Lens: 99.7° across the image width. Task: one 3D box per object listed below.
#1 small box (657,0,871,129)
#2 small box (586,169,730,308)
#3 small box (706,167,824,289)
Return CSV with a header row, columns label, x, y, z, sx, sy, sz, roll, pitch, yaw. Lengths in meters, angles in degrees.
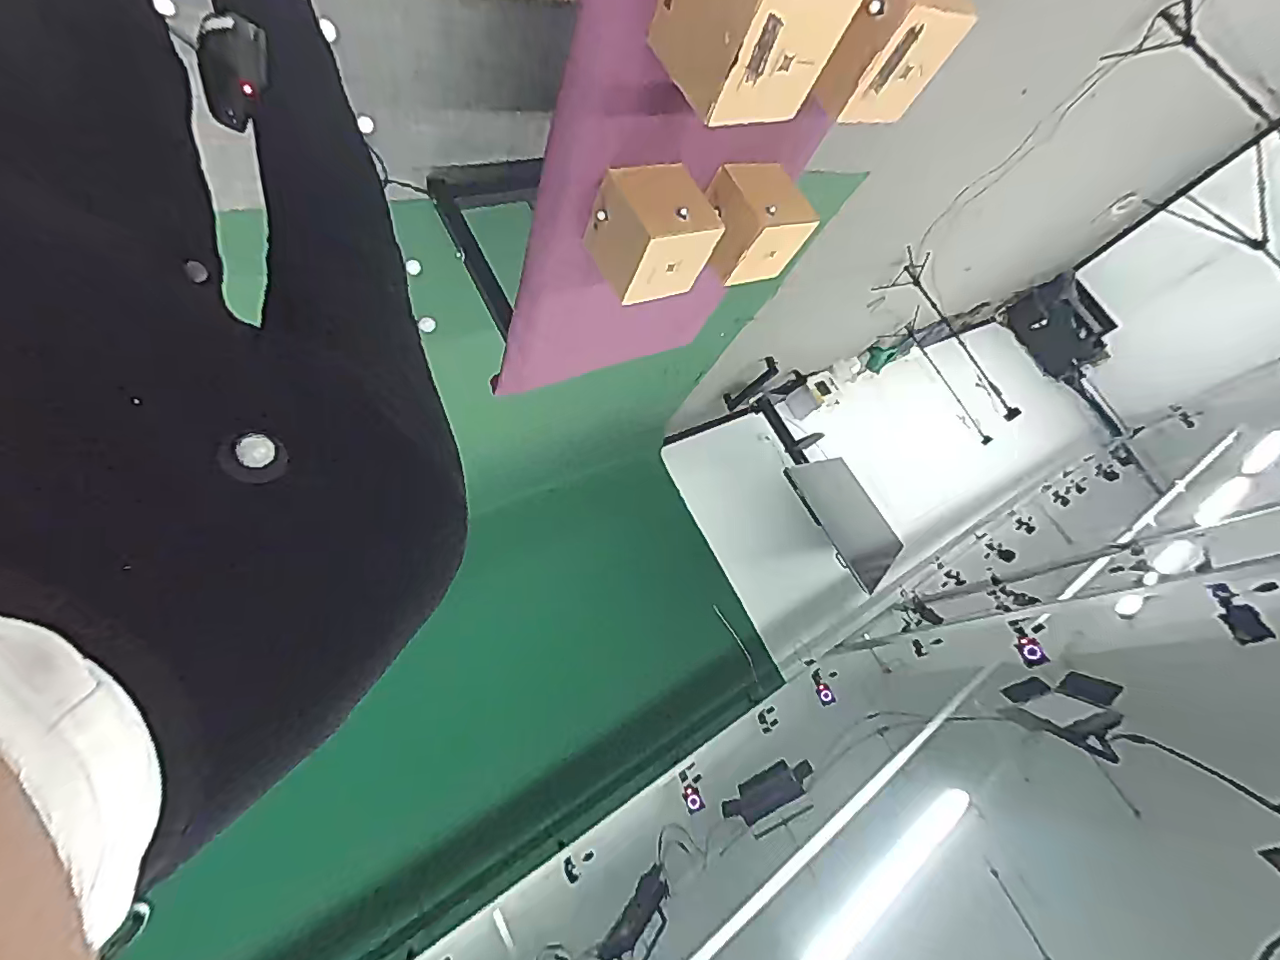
label,x,y,z,sx,sy,sz,roll,pitch,yaw
small box,0.149,-0.597,0.705,0.179,0.176,0.168,-24,167,-27
small box,0.028,-0.456,1.015,0.179,0.176,0.168,-22,165,-30
small box,0.247,-0.541,1.158,0.179,0.176,0.168,-20,166,-30
